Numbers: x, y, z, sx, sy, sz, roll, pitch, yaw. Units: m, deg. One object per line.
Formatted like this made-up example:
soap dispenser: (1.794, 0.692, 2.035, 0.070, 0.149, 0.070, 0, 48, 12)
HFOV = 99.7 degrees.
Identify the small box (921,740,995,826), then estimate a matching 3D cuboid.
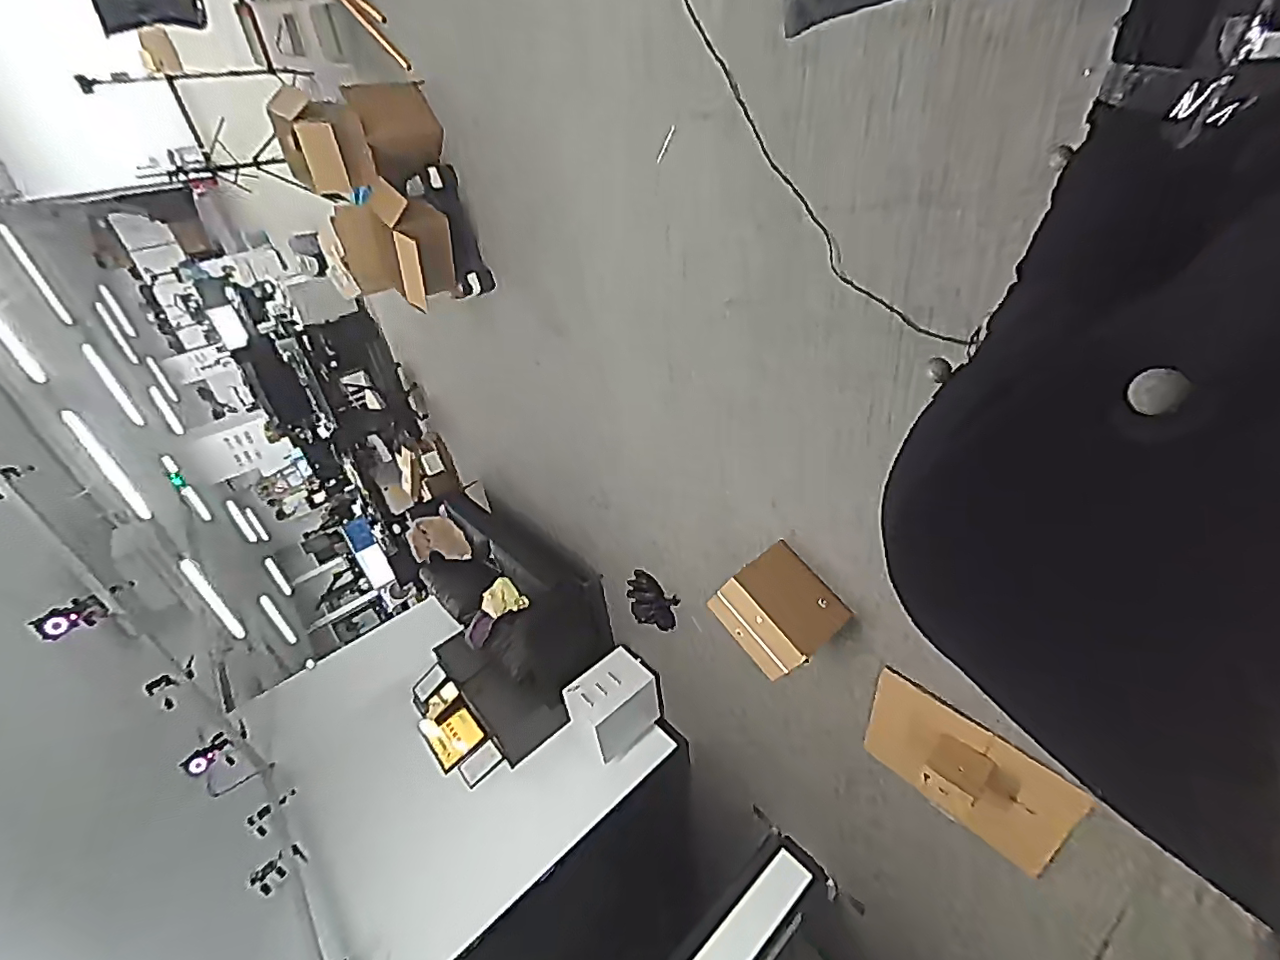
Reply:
small box: (1.141, 1.080, 1.941, 0.179, 0.176, 0.168, 24, 136, 44)
